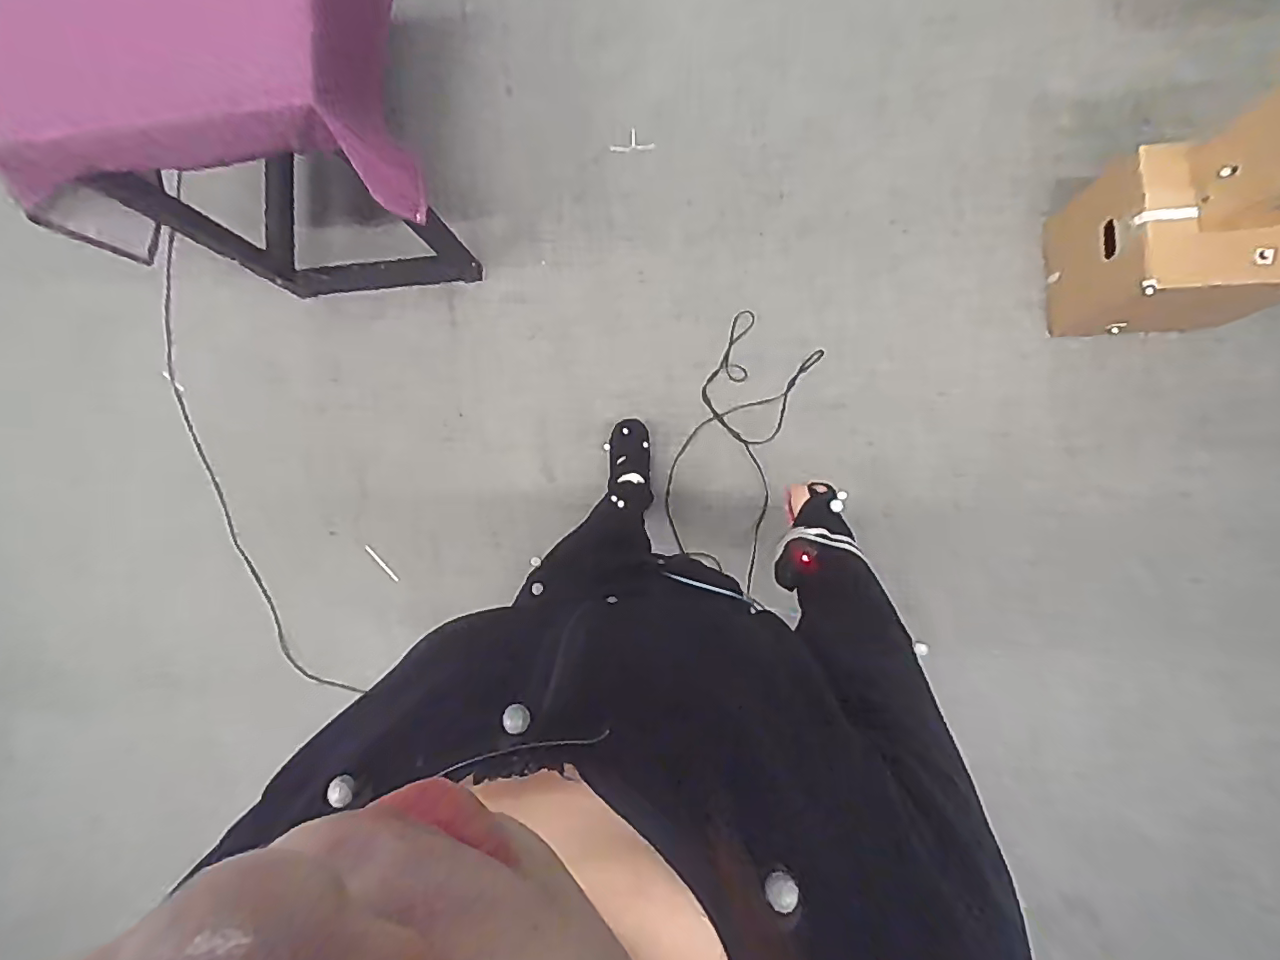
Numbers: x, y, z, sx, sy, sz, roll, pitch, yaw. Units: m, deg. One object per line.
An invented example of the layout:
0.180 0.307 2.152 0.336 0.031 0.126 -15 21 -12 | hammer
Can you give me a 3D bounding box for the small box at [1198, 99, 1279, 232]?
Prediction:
1.219 -0.593 1.022 0.179 0.176 0.168 -4 85 6 | small box
